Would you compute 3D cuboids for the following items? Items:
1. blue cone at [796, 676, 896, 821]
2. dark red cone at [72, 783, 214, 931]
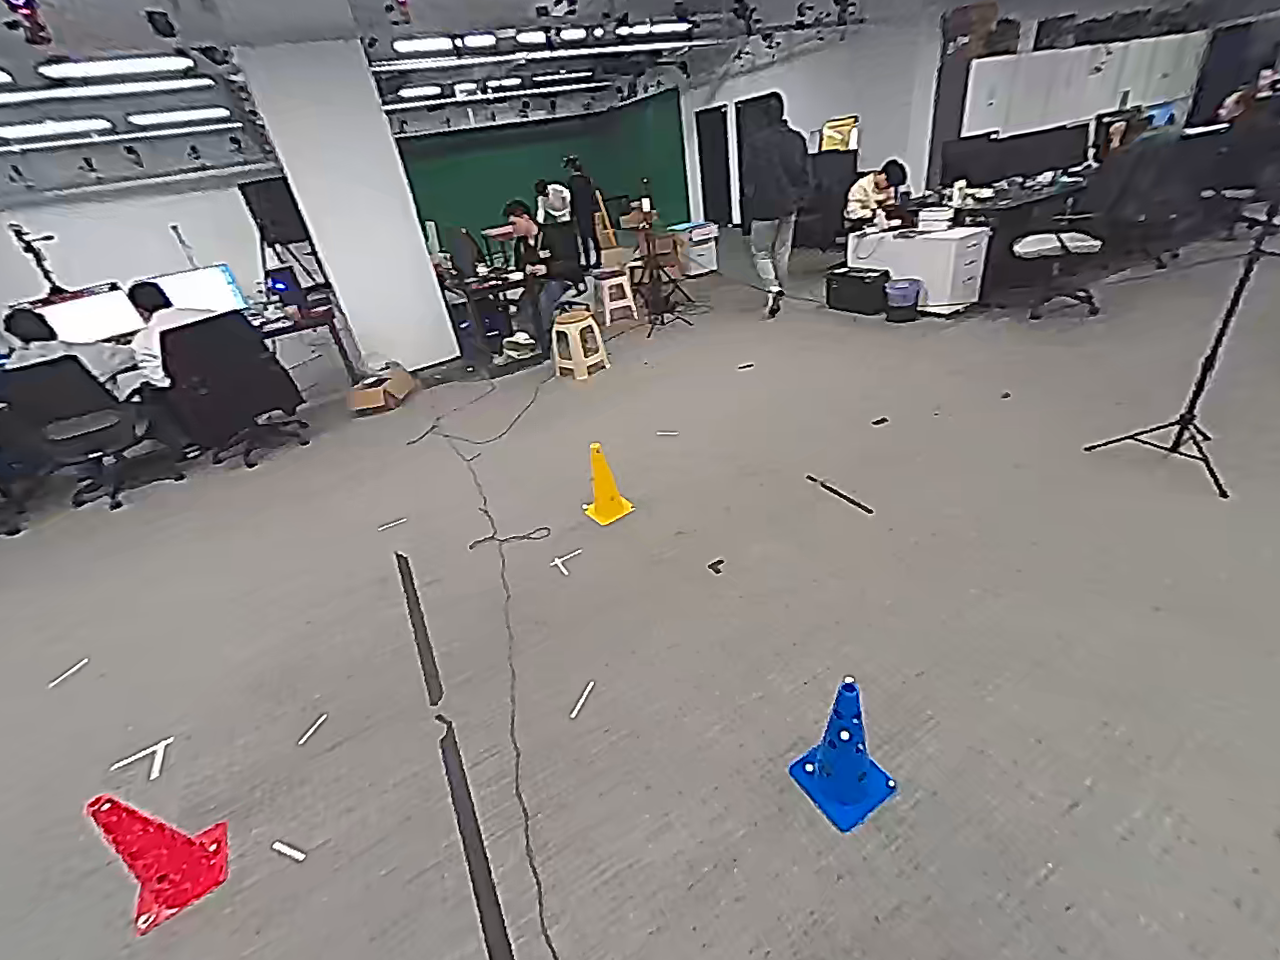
[{"bbox_3d":[0.499,0.614,1.299,0.192,0.380,0.193,-21,32,-21],"label":"blue cone"},{"bbox_3d":[-1.242,0.874,1.319,0.201,0.394,0.202,-26,34,-28],"label":"dark red cone"}]
